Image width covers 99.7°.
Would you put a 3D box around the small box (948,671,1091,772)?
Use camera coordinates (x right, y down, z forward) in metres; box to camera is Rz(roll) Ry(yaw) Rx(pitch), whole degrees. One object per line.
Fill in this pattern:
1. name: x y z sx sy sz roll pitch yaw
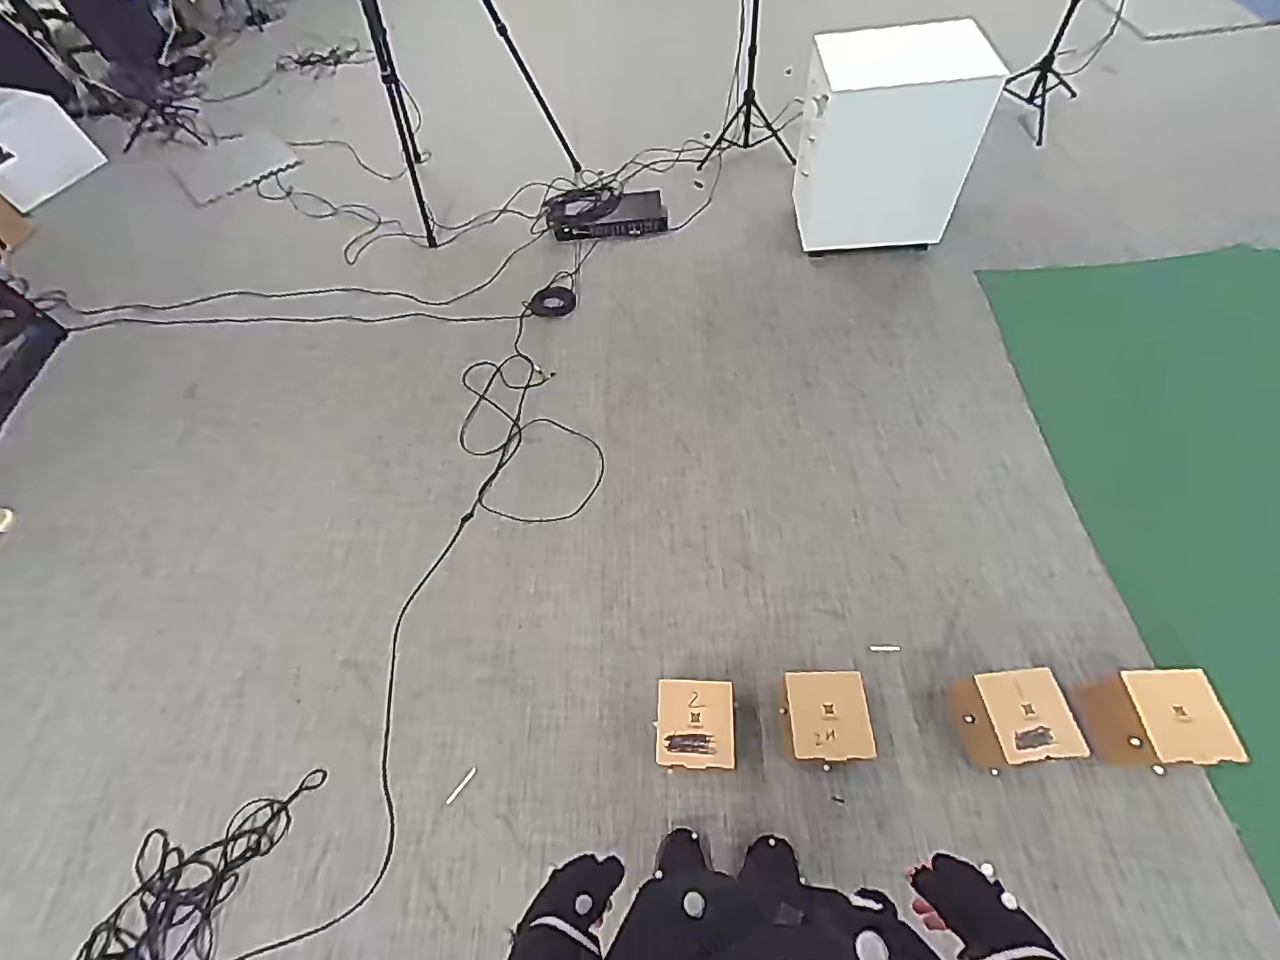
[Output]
1. small box: 0.816 0.534 1.184 0.168 0.176 0.179 -7 57 2

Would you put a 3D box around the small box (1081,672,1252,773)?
1. small box: 1.107 0.524 1.161 0.168 0.176 0.179 -4 58 5

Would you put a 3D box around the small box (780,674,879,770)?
1. small box: 0.415 0.546 1.217 0.168 0.176 0.179 -3 58 6
